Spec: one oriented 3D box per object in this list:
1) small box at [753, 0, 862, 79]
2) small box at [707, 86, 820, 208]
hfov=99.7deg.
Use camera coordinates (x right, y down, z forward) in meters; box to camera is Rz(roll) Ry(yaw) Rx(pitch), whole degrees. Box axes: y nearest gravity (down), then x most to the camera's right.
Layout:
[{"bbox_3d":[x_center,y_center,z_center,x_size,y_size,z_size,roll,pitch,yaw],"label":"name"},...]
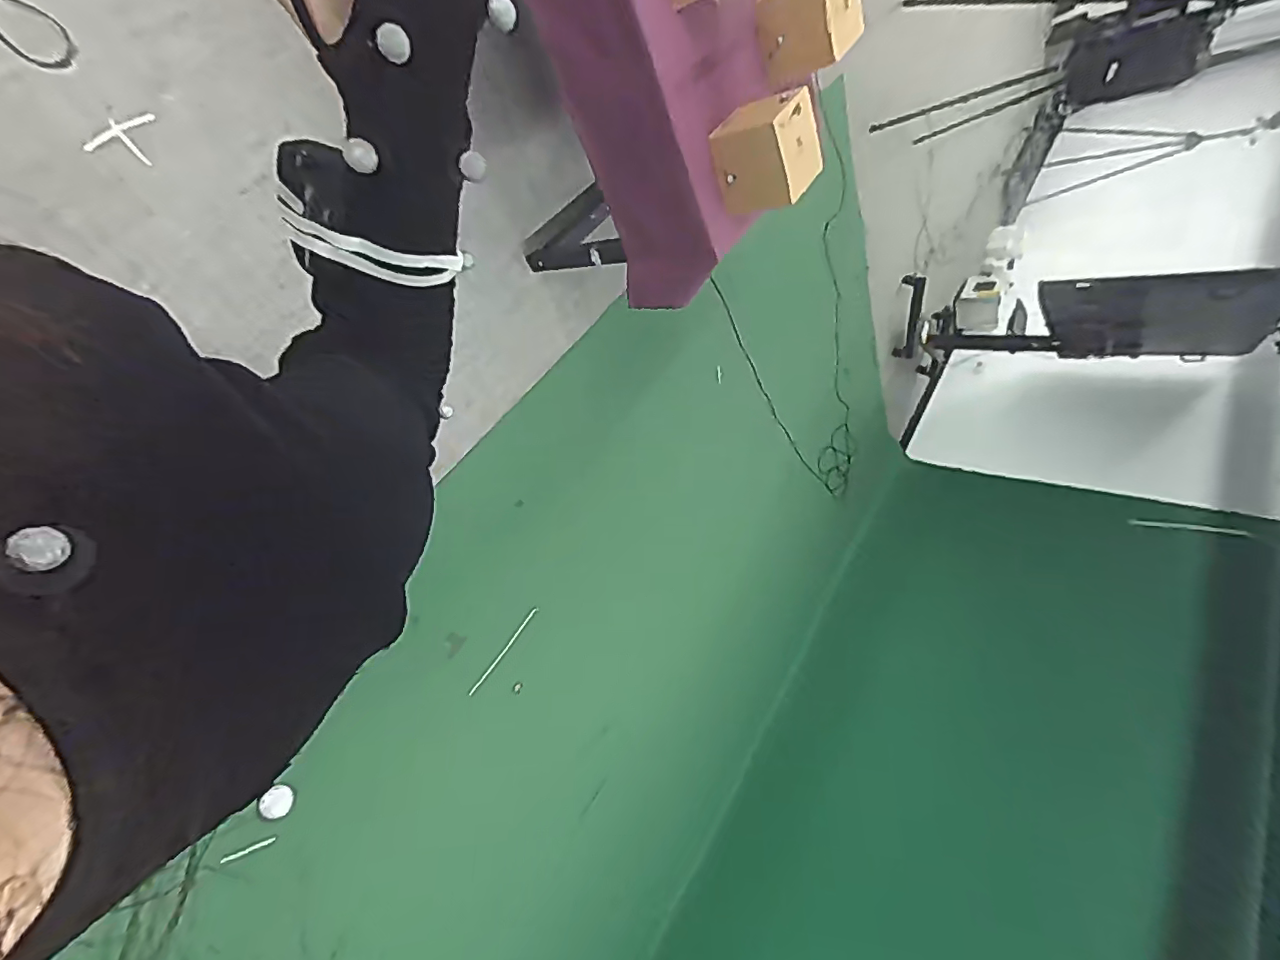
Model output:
[{"bbox_3d":[0.383,-1.062,1.234,0.179,0.176,0.168,-55,135,-22],"label":"small box"},{"bbox_3d":[0.277,-0.734,1.210,0.168,0.176,0.179,-54,135,-24],"label":"small box"}]
